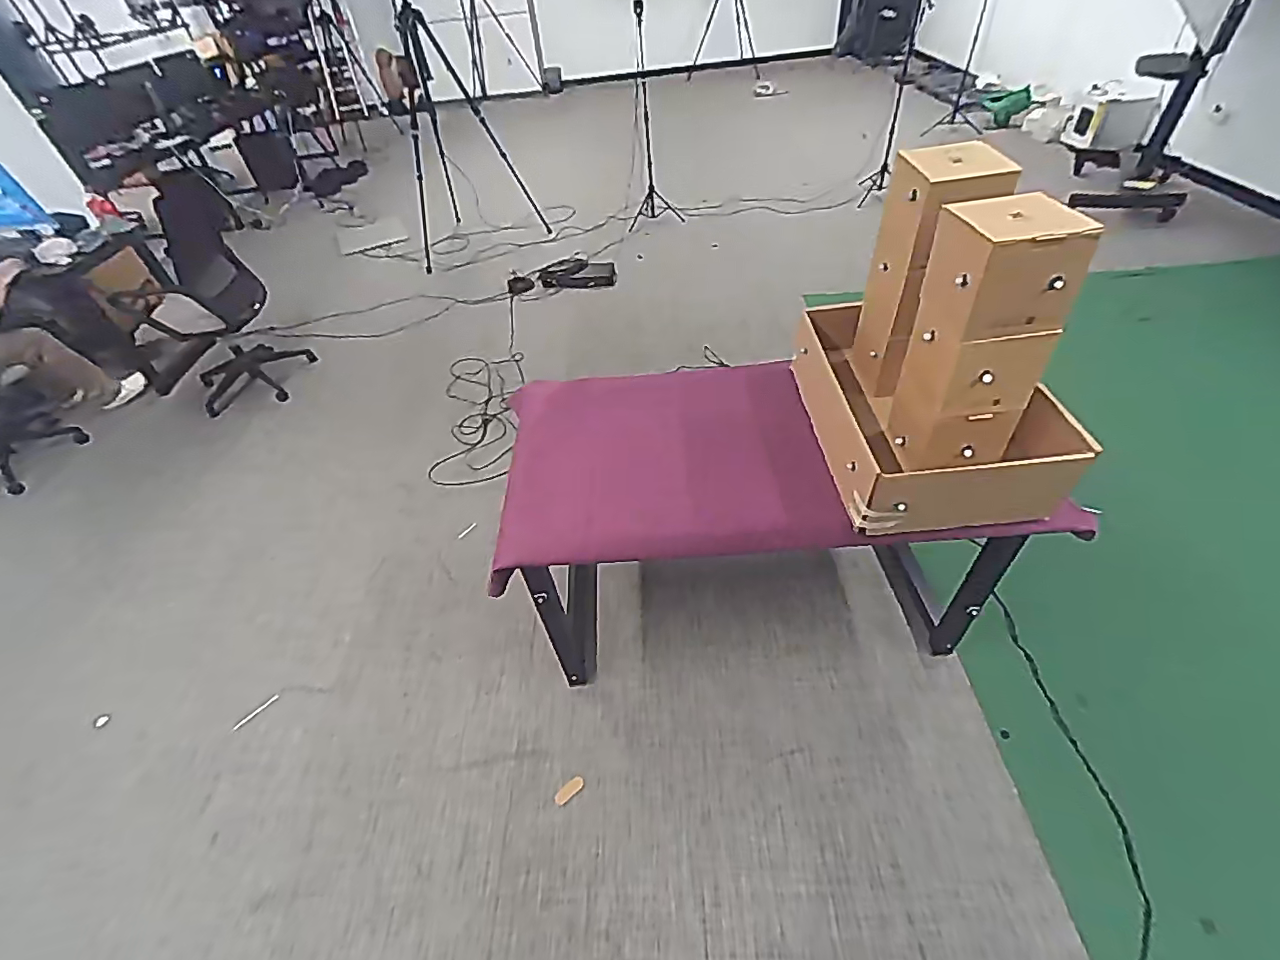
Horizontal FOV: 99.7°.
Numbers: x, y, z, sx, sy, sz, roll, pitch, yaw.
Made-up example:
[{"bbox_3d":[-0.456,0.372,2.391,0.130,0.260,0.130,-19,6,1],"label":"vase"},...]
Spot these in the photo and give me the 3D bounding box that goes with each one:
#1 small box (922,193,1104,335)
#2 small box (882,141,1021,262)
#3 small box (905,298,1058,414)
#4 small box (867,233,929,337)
[{"bbox_3d":[0.607,-0.356,0.909,0.168,0.176,0.179,-6,44,3],"label":"small box"},{"bbox_3d":[0.613,-0.554,1.090,0.168,0.176,0.179,-5,47,3],"label":"small box"},{"bbox_3d":[0.627,-0.237,1.020,0.168,0.176,0.179,-6,44,4],"label":"small box"},{"bbox_3d":[0.629,-0.445,1.214,0.168,0.176,0.179,-7,47,3],"label":"small box"}]
